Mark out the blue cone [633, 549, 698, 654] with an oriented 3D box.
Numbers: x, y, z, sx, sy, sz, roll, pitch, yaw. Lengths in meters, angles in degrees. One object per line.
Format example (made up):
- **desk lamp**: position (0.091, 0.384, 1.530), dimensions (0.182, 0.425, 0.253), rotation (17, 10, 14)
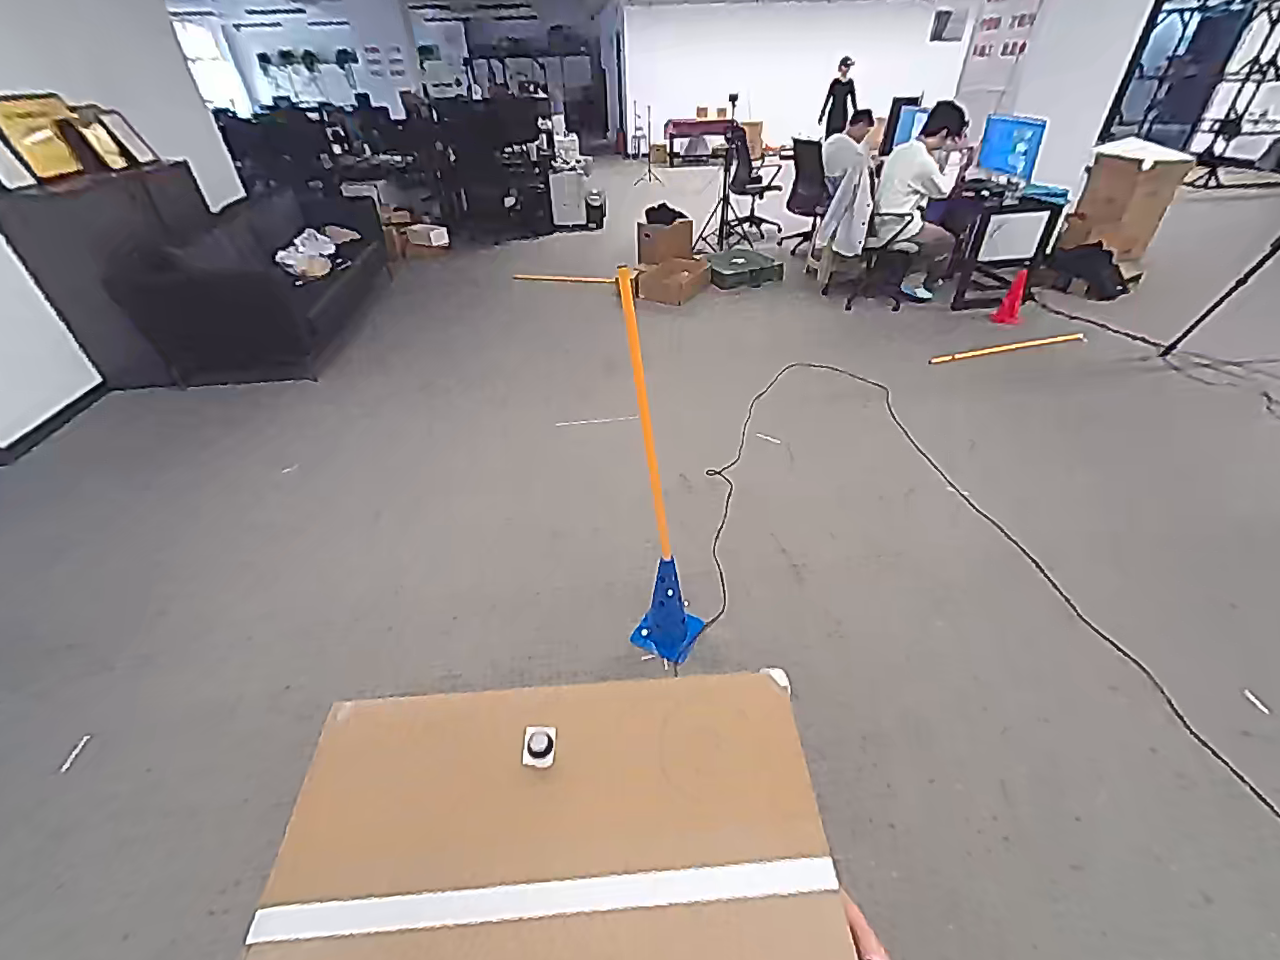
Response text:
- **blue cone**: position (0.083, 0.368, 1.734), dimensions (0.192, 0.380, 0.193), rotation (15, 42, 22)
